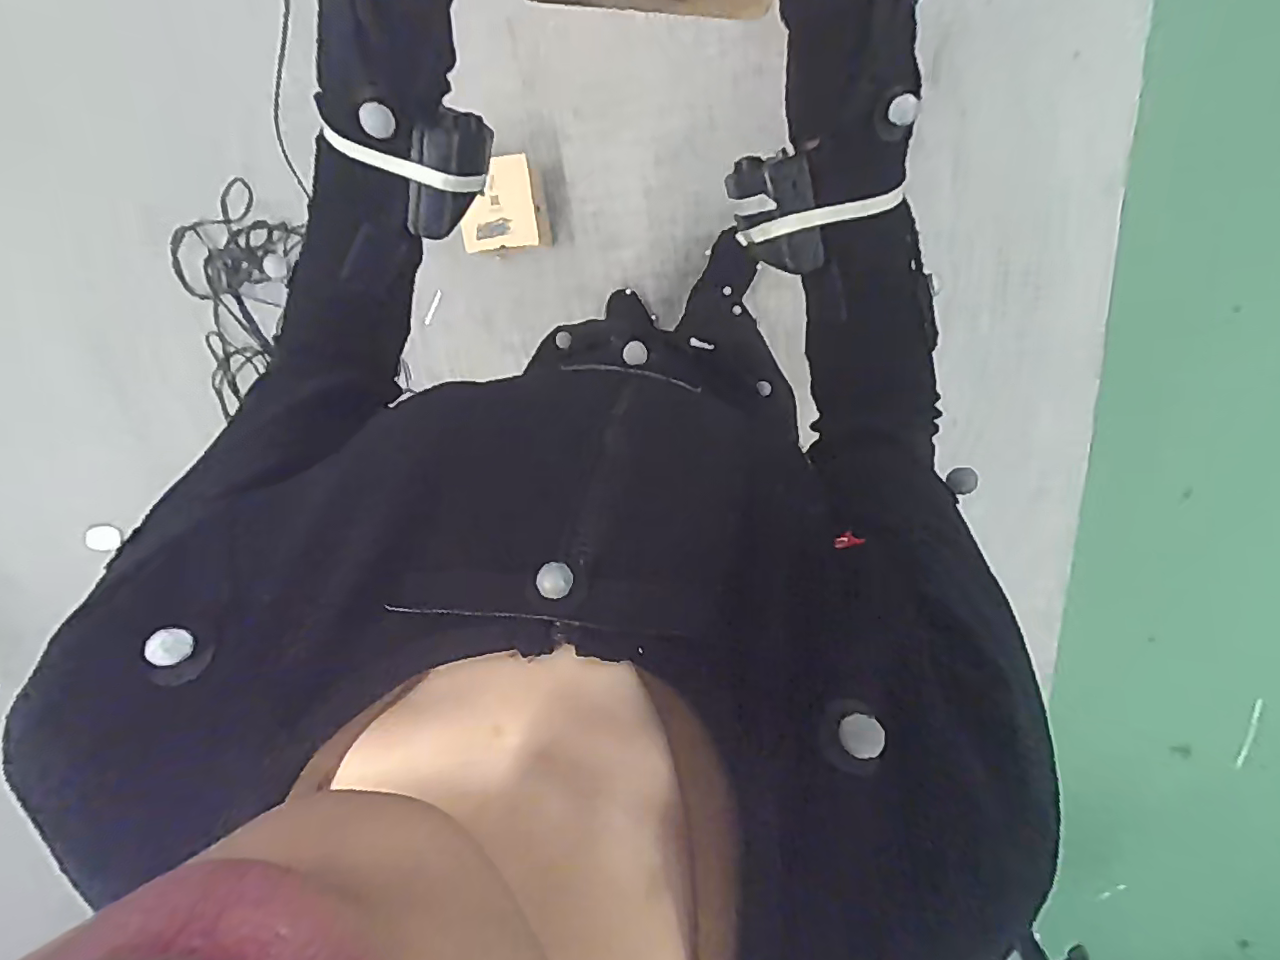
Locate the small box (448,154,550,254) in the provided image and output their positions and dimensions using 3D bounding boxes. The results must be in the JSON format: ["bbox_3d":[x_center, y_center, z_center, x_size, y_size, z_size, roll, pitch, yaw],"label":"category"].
[{"bbox_3d":[-0.307,-0.610,1.217,0.168,0.176,0.179,-6,110,3],"label":"small box"}]
